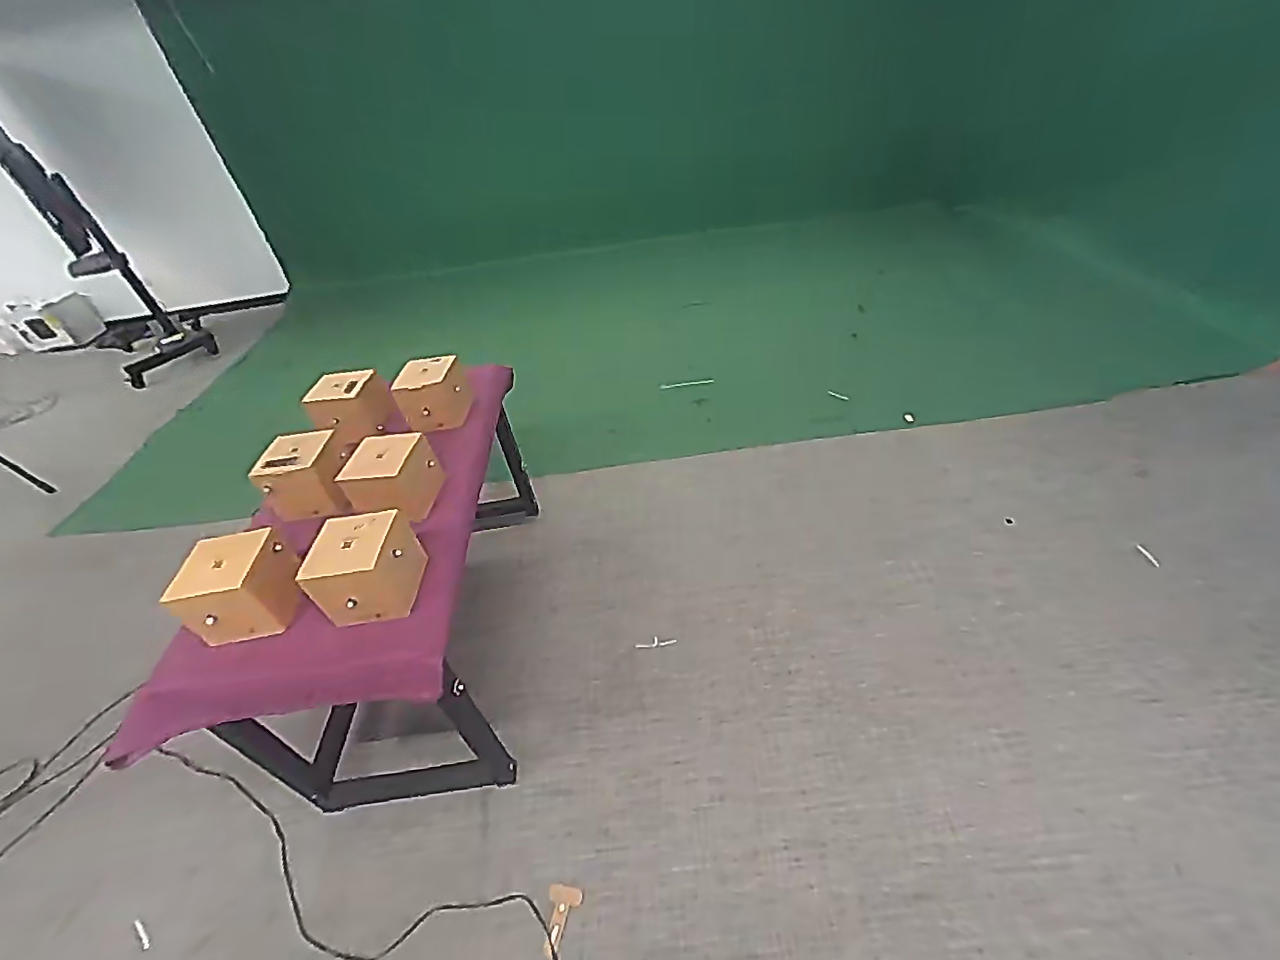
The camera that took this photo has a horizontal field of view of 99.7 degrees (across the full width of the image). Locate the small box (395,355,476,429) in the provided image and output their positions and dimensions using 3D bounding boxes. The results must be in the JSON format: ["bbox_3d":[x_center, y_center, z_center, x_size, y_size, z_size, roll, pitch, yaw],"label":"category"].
[{"bbox_3d":[-0.644,-0.276,1.728,0.168,0.176,0.179,-5,42,6],"label":"small box"}]

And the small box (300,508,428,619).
[{"bbox_3d":[-0.588,0.188,1.183,0.168,0.176,0.179,-8,40,4],"label":"small box"}]

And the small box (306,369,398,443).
[{"bbox_3d":[-0.913,-0.235,1.735,0.179,0.176,0.168,-5,41,7],"label":"small box"}]

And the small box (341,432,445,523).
[{"bbox_3d":[-0.635,-0.006,1.420,0.168,0.176,0.179,-4,42,9],"label":"small box"}]

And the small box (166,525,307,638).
[{"bbox_3d":[-0.869,0.231,1.194,0.168,0.176,0.179,-10,40,-1],"label":"small box"}]
